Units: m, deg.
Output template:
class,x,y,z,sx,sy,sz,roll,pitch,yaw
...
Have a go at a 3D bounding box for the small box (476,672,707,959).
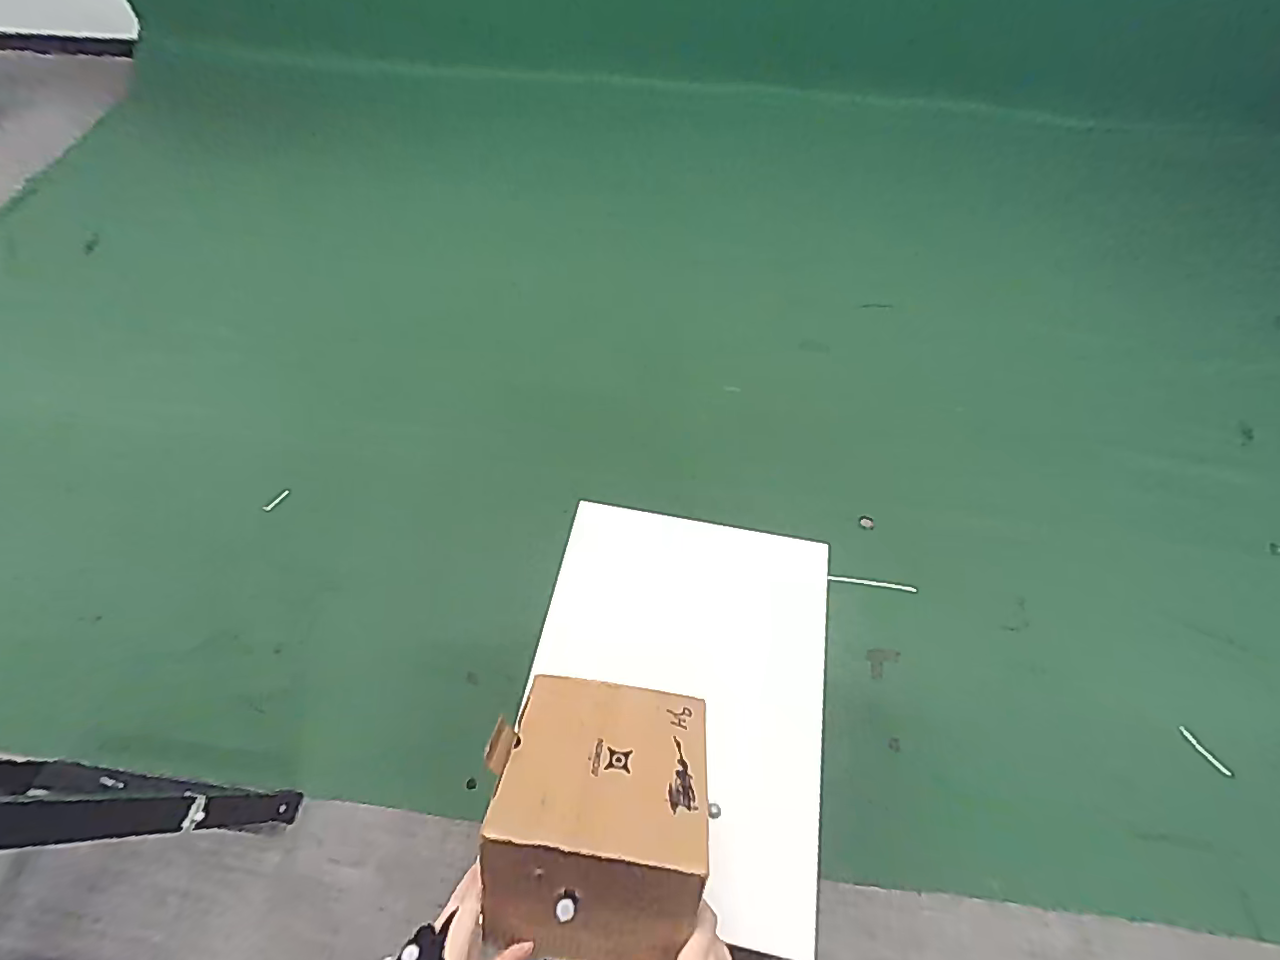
class,x,y,z,sx,sy,sz,roll,pitch,yaw
small box,-0.035,0.309,0.499,0.179,0.176,0.168,7,26,3
